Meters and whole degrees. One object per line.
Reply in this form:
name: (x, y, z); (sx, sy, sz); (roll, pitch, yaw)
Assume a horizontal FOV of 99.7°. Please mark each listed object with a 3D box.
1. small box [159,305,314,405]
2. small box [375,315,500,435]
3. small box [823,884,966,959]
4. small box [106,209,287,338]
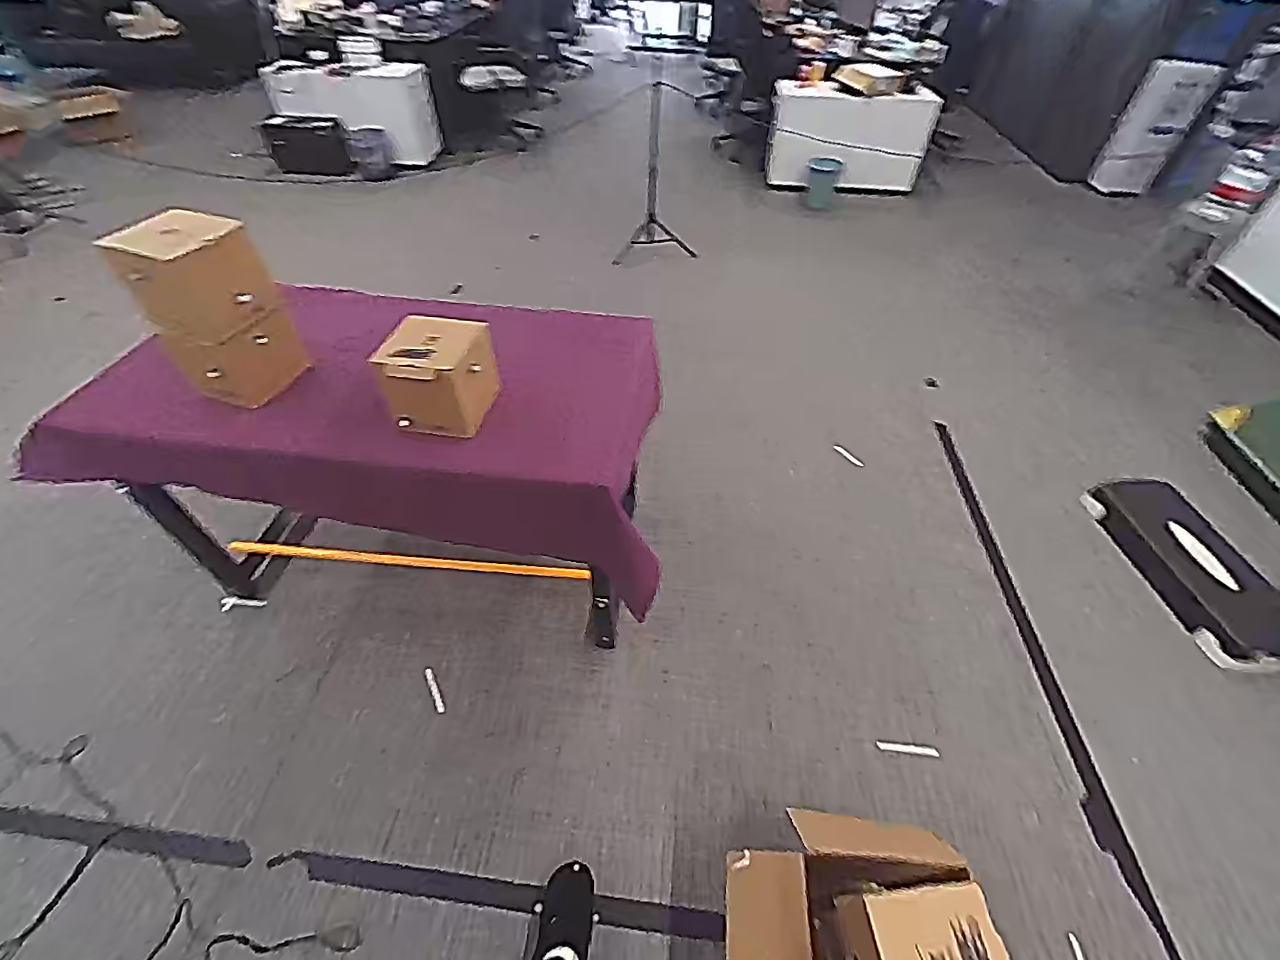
small box: (-0.855, -0.288, 1.170); (0.168, 0.176, 0.179); (15, 48, 11)
small box: (-0.401, -0.213, 1.111); (0.168, 0.176, 0.179); (8, 47, 6)
small box: (0.438, 0.823, 0.922); (0.168, 0.176, 0.179); (-12, 52, -9)
small box: (-0.846, -0.399, 1.050); (0.179, 0.176, 0.168); (16, 50, 12)
